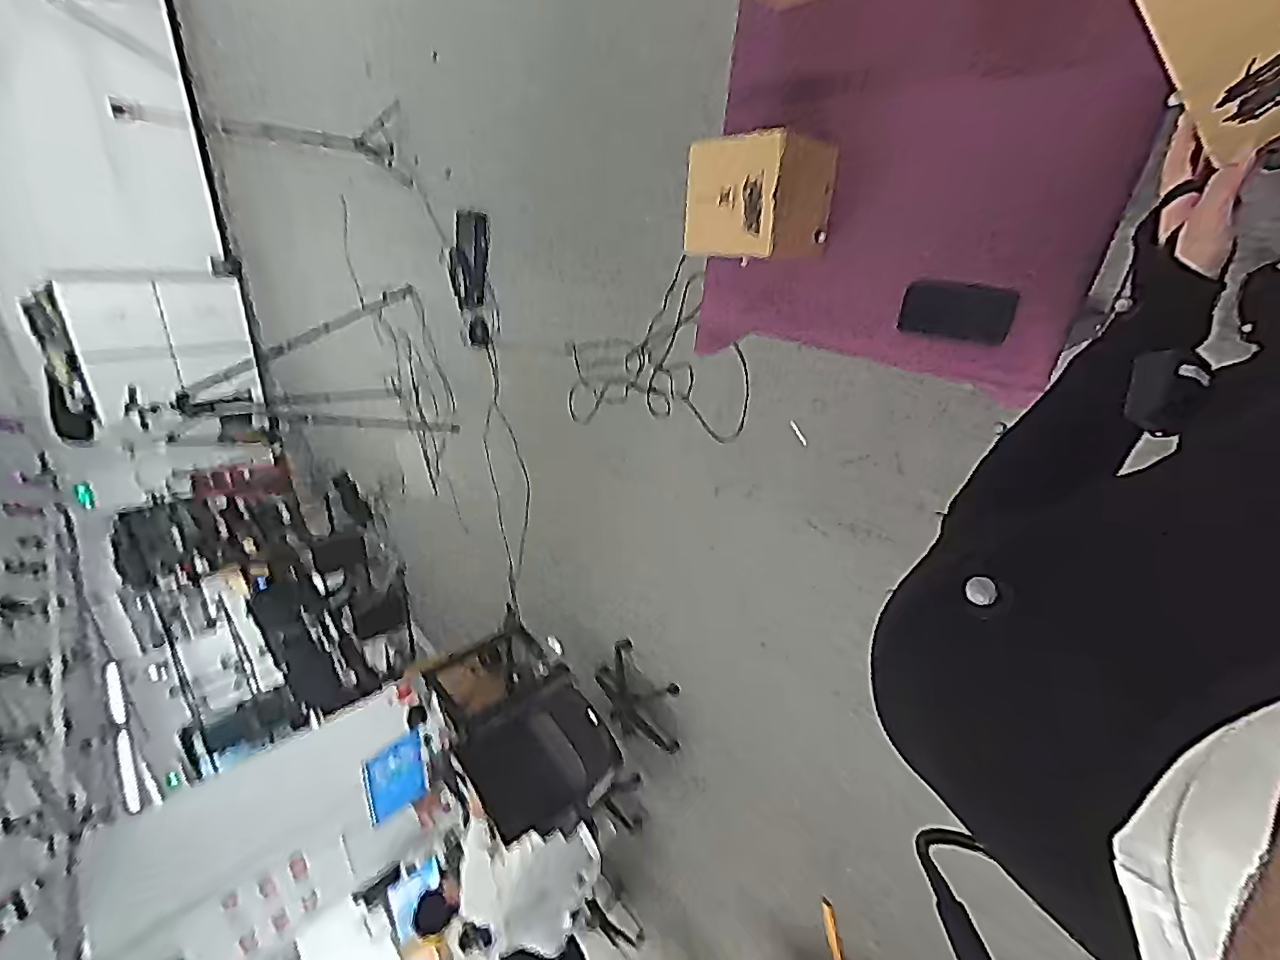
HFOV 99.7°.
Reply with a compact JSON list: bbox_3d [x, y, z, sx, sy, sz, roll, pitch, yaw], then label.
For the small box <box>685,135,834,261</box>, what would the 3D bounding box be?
[{"bbox_3d":[0.197,-0.457,0.897,0.179,0.176,0.168,22,120,41],"label":"small box"}]
